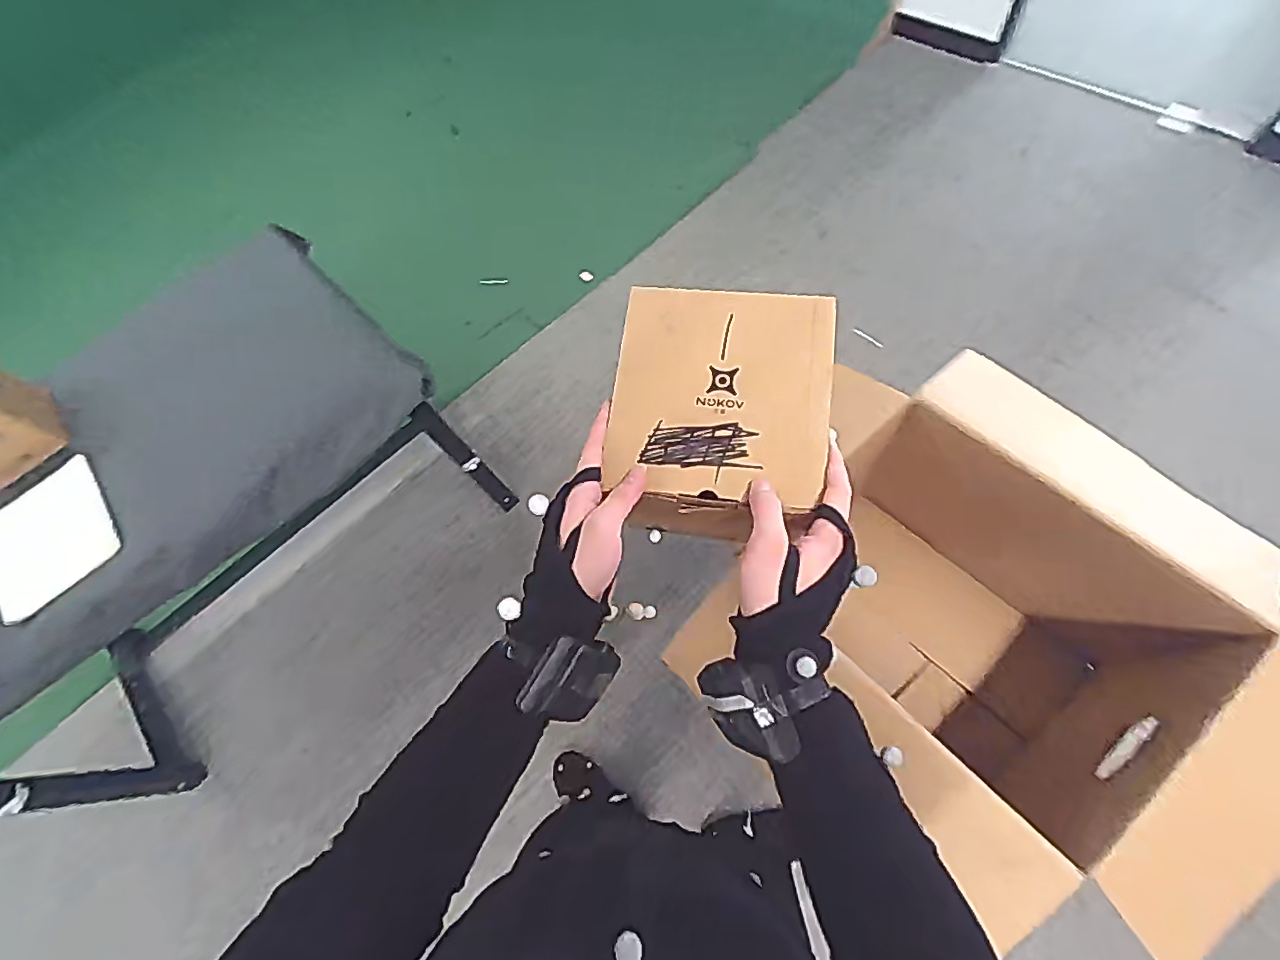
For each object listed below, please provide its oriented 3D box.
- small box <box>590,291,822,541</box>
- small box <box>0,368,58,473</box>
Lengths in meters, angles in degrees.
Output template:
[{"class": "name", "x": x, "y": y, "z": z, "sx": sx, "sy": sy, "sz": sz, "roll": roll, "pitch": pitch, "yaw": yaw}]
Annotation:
[{"class": "small box", "x": 0.062, "y": -0.046, "z": 0.492, "sx": 0.168, "sy": 0.176, "sz": 0.179, "roll": 5, "pitch": 75, "yaw": 8}, {"class": "small box", "x": -1.253, "y": -0.121, "z": 1.002, "sx": 0.168, "sy": 0.176, "sz": 0.179, "roll": -41, "pitch": 67, "yaw": -11}]
